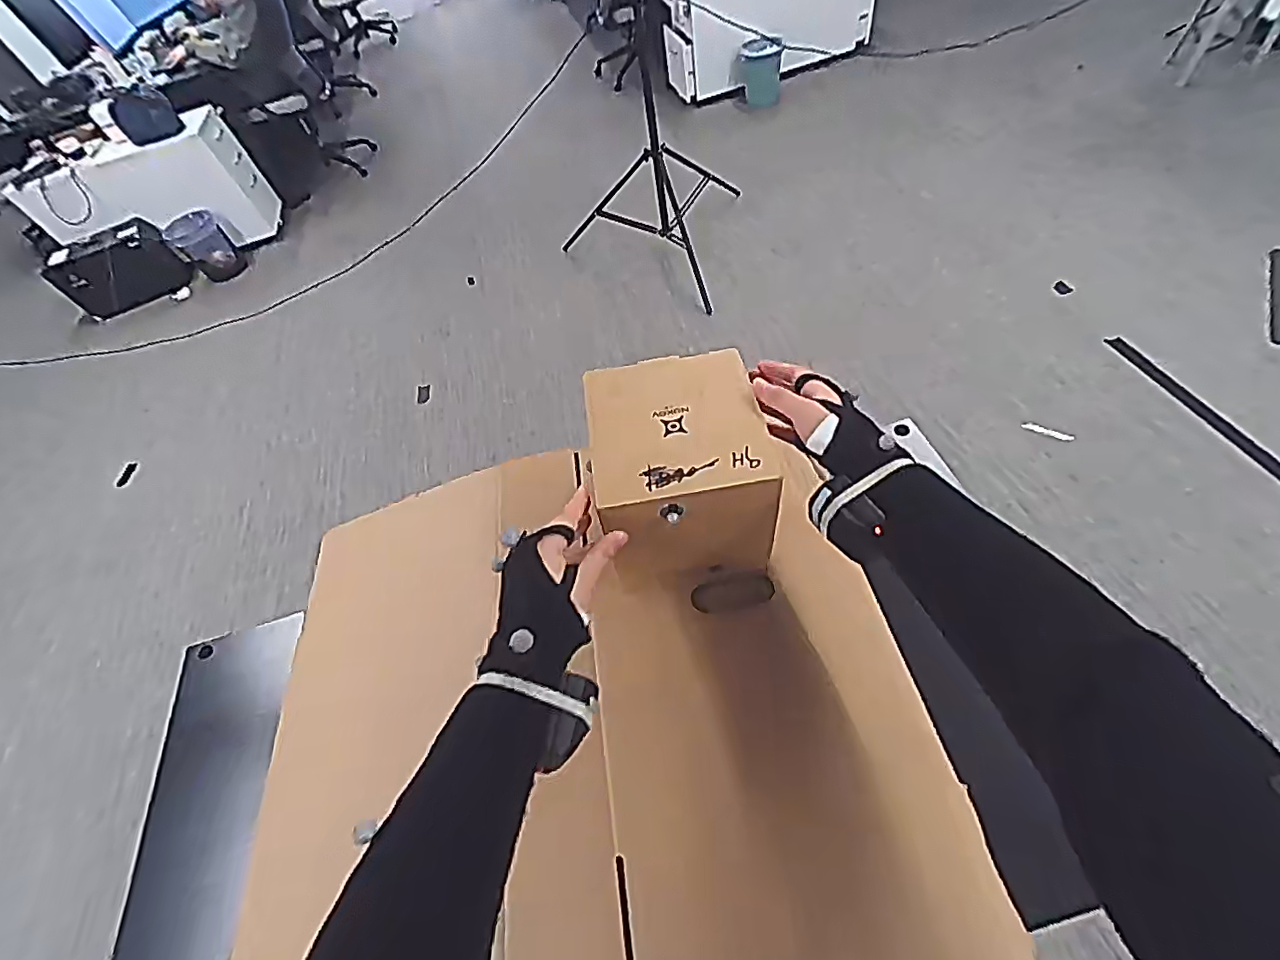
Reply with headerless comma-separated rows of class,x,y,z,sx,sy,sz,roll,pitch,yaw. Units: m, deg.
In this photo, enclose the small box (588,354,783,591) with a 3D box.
small box,0.043,-0.005,0.580,0.168,0.176,0.179,-10,52,1
